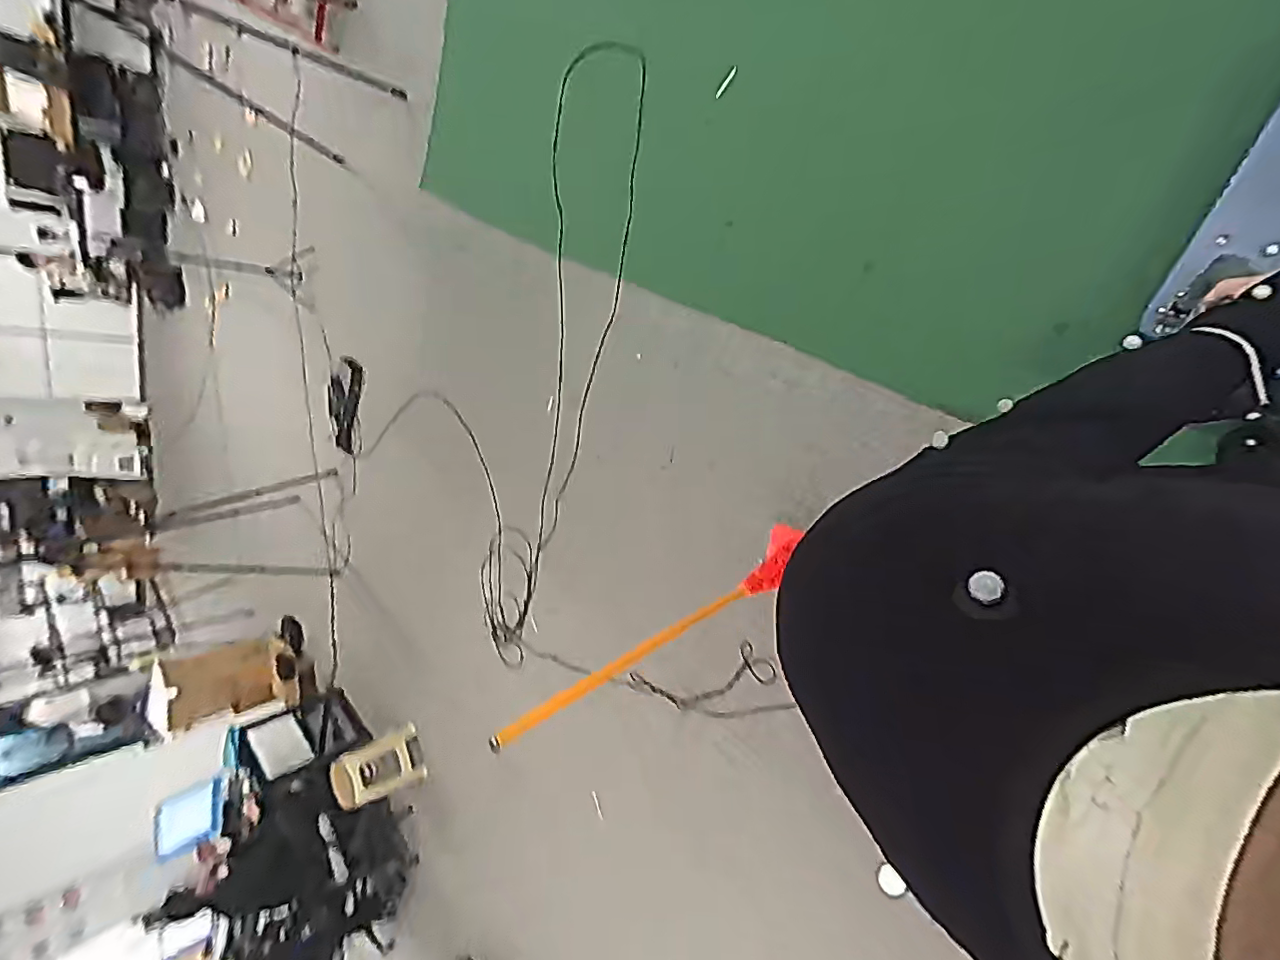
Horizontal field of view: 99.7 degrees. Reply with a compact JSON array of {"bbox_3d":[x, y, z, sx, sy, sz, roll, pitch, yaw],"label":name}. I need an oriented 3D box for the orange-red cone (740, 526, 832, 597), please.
[{"bbox_3d":[0.402,0.279,1.621,0.199,0.360,0.198,18,107,38],"label":"orange-red cone"}]
